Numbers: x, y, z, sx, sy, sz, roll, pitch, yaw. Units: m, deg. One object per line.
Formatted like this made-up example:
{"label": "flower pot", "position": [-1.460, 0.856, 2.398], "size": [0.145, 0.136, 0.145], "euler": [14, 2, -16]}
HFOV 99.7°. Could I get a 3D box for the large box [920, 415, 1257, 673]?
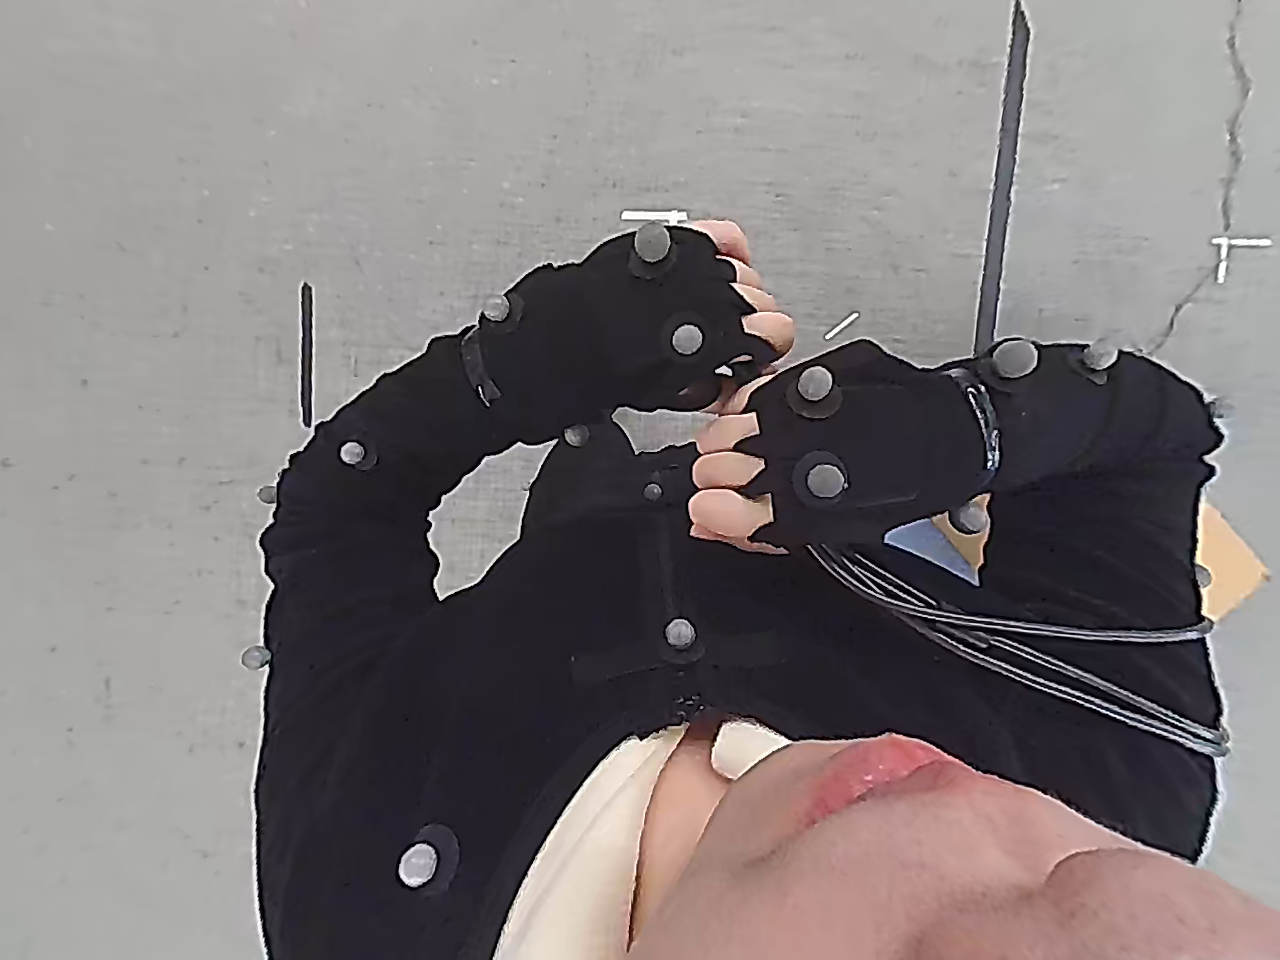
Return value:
{"label": "large box", "position": [0.909, 0.112, 1.155], "size": [0.320, 0.320, 0.408], "euler": [-42, 93, 4]}
